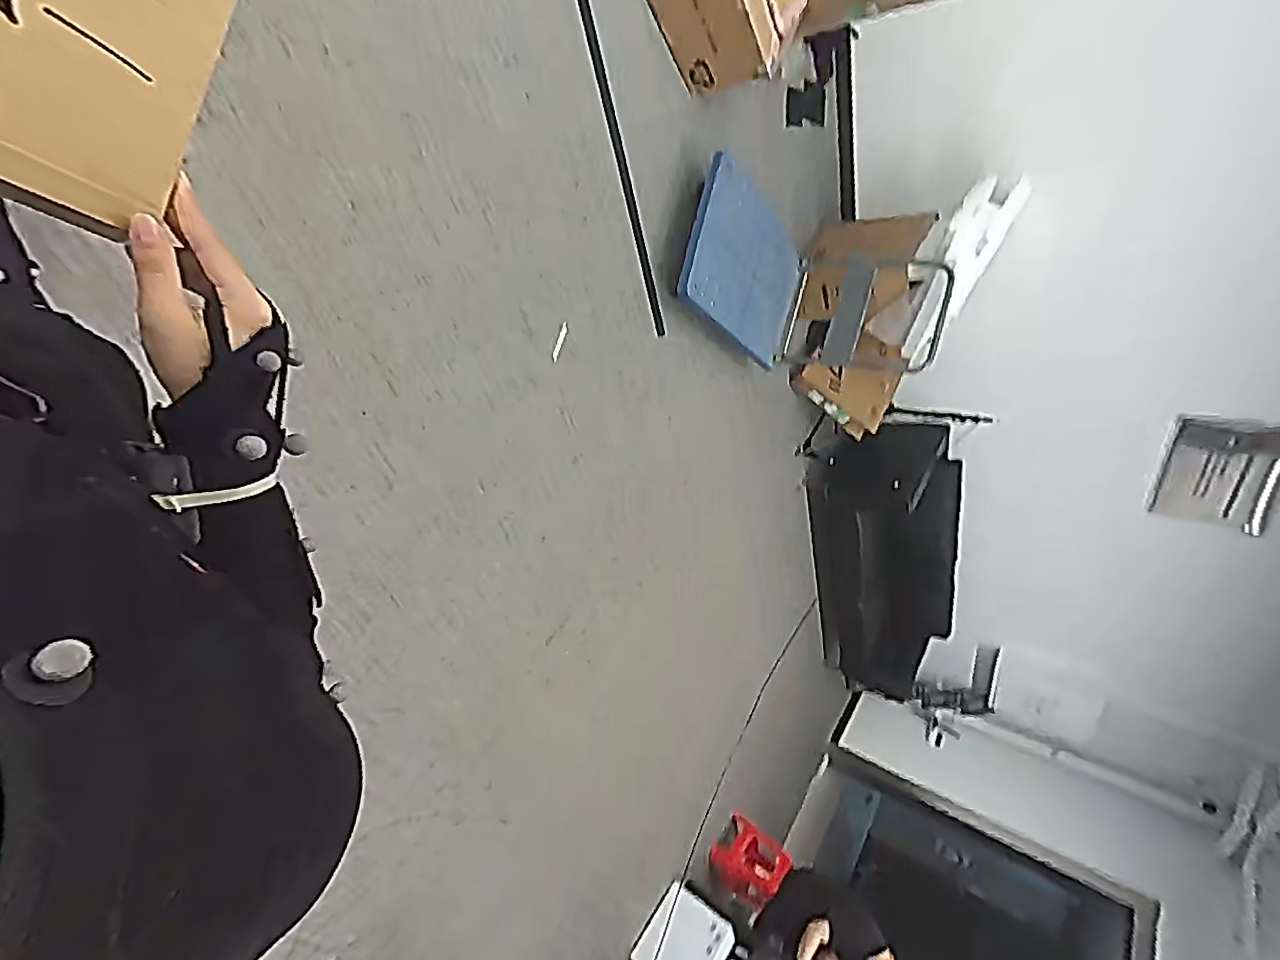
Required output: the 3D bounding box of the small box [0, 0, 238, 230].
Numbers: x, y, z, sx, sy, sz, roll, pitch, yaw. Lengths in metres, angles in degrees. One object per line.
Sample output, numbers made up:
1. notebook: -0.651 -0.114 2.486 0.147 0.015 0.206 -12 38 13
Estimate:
1. small box: -0.354 -0.251 0.284 0.179 0.176 0.168 18 92 -52
